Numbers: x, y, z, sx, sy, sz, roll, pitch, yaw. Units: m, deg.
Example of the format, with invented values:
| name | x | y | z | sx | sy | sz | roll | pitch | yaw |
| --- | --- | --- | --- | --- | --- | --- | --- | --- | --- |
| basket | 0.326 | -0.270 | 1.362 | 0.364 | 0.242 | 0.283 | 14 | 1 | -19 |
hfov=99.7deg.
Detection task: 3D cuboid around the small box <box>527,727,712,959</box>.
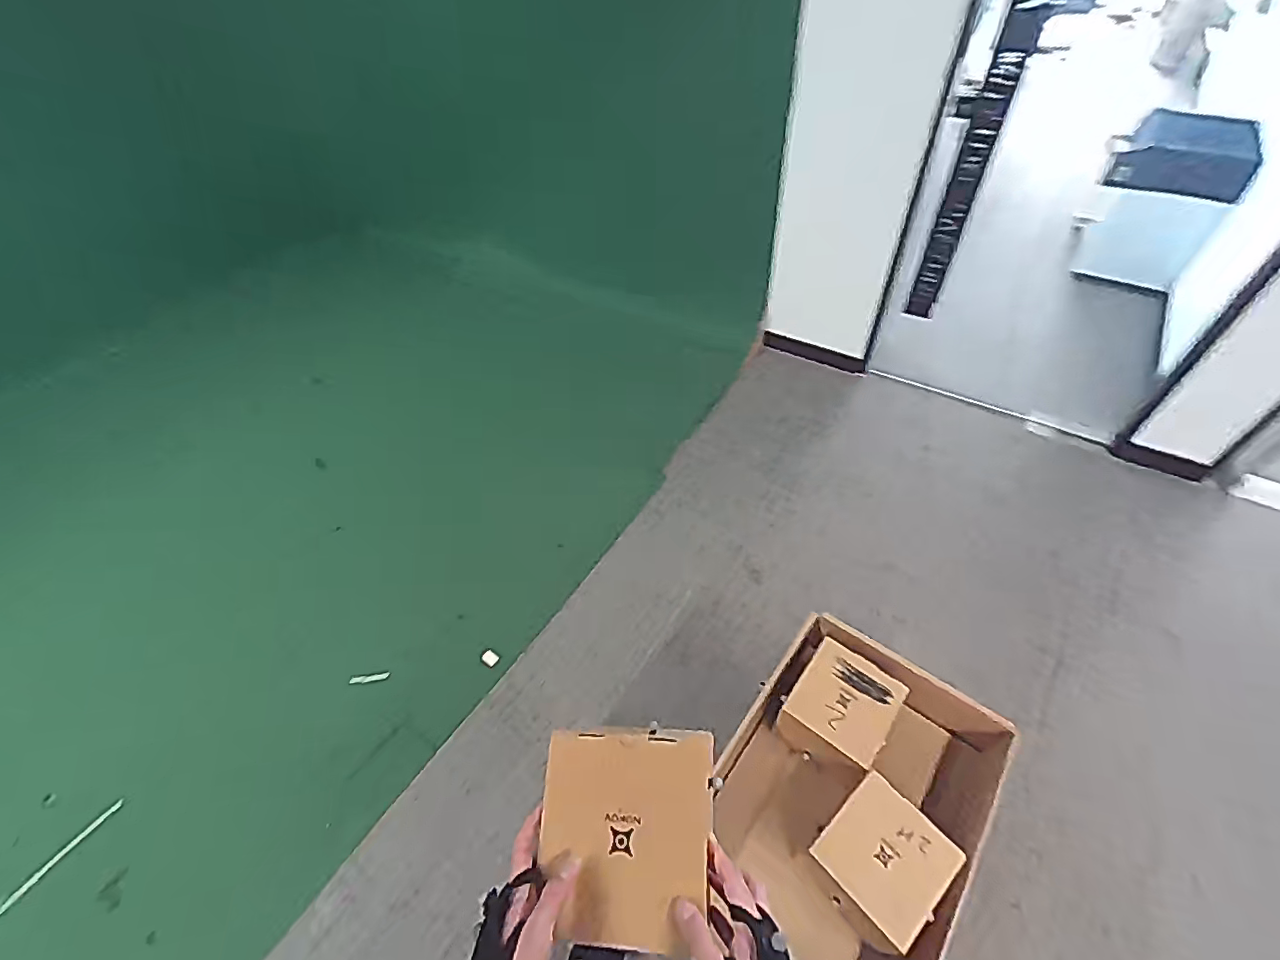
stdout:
| name | x | y | z | sx | sy | sz | roll | pitch | yaw |
| --- | --- | --- | --- | --- | --- | --- | --- | --- | --- |
| small box | -0.008 | 0.370 | 0.584 | 0.168 | 0.176 | 0.179 | -1 | 67 | 8 |
